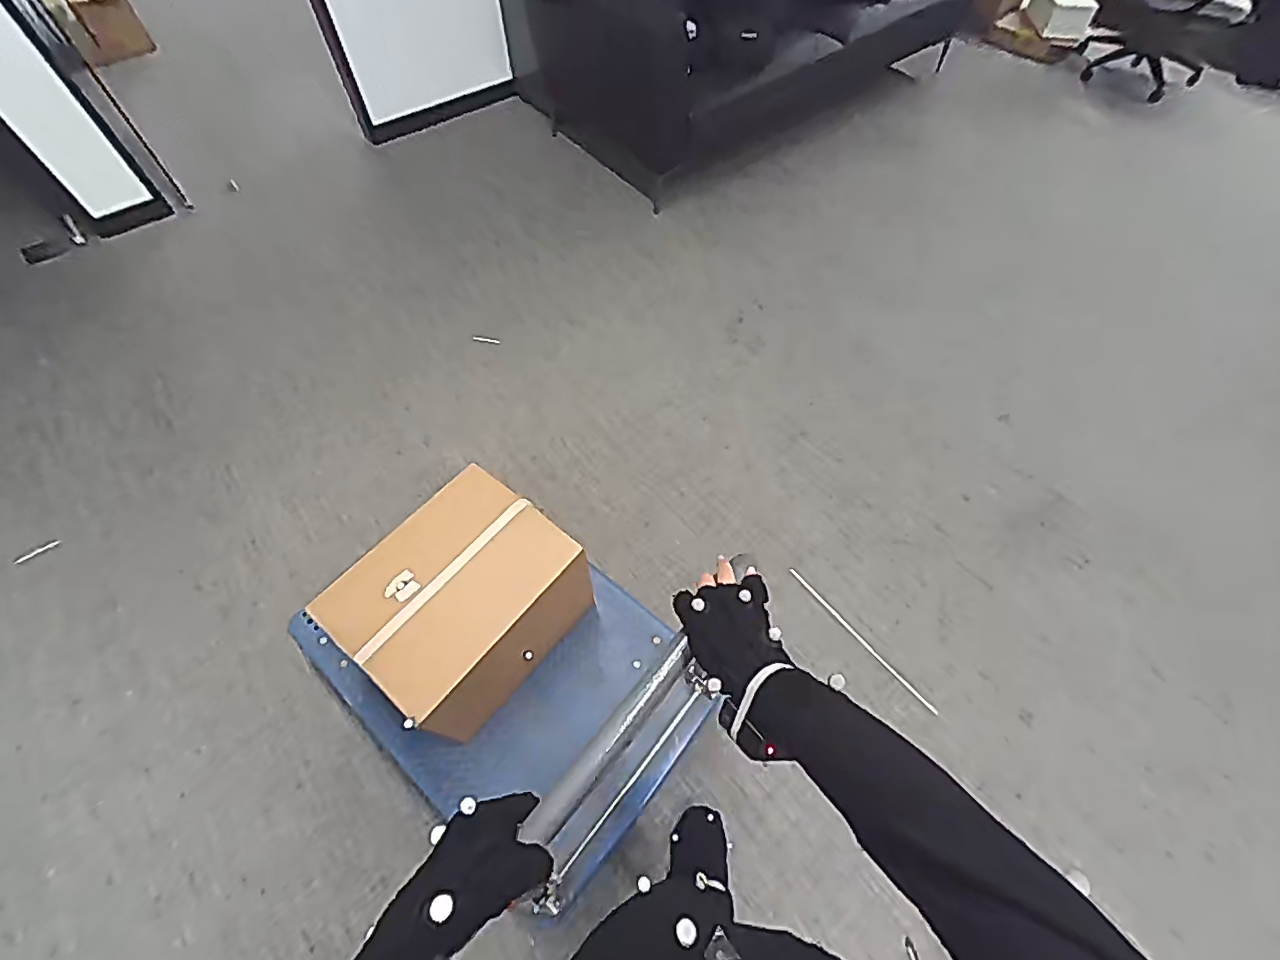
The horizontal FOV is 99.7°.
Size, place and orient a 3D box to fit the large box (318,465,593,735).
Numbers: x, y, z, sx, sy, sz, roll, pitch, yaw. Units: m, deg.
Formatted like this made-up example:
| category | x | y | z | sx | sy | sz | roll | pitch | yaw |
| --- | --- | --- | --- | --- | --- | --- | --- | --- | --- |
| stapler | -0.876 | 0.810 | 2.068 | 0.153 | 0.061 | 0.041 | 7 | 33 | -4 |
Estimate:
| category | x | y | z | sx | sy | sz | roll | pitch | yaw |
| --- | --- | --- | --- | --- | --- | --- | --- | --- | --- |
| large box | -0.344 | 0.254 | 1.133 | 0.320 | 0.320 | 0.408 | 34 | 65 | 18 |
